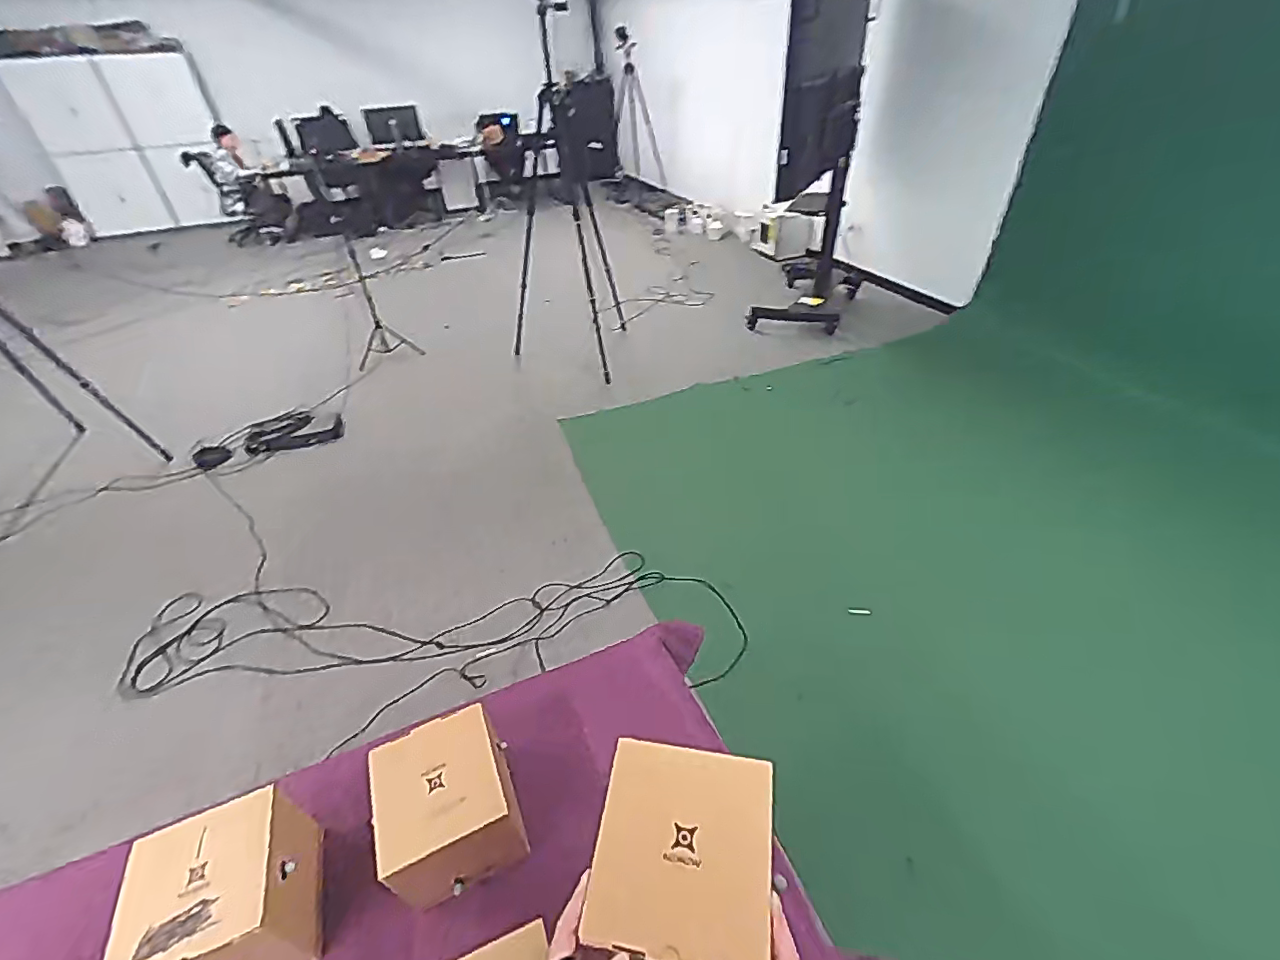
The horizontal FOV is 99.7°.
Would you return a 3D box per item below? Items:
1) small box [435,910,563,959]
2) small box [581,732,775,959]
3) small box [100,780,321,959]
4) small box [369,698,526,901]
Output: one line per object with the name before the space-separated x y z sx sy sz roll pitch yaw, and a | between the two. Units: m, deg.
small box | -0.152 0.624 0.584 0.168 0.176 0.179 -16 39 -15
small box | 0.047 0.398 0.565 0.168 0.176 0.179 5 44 11
small box | -0.541 0.545 0.710 0.168 0.176 0.179 -17 40 -17
small box | -0.279 0.466 0.794 0.168 0.176 0.179 -19 43 -17
